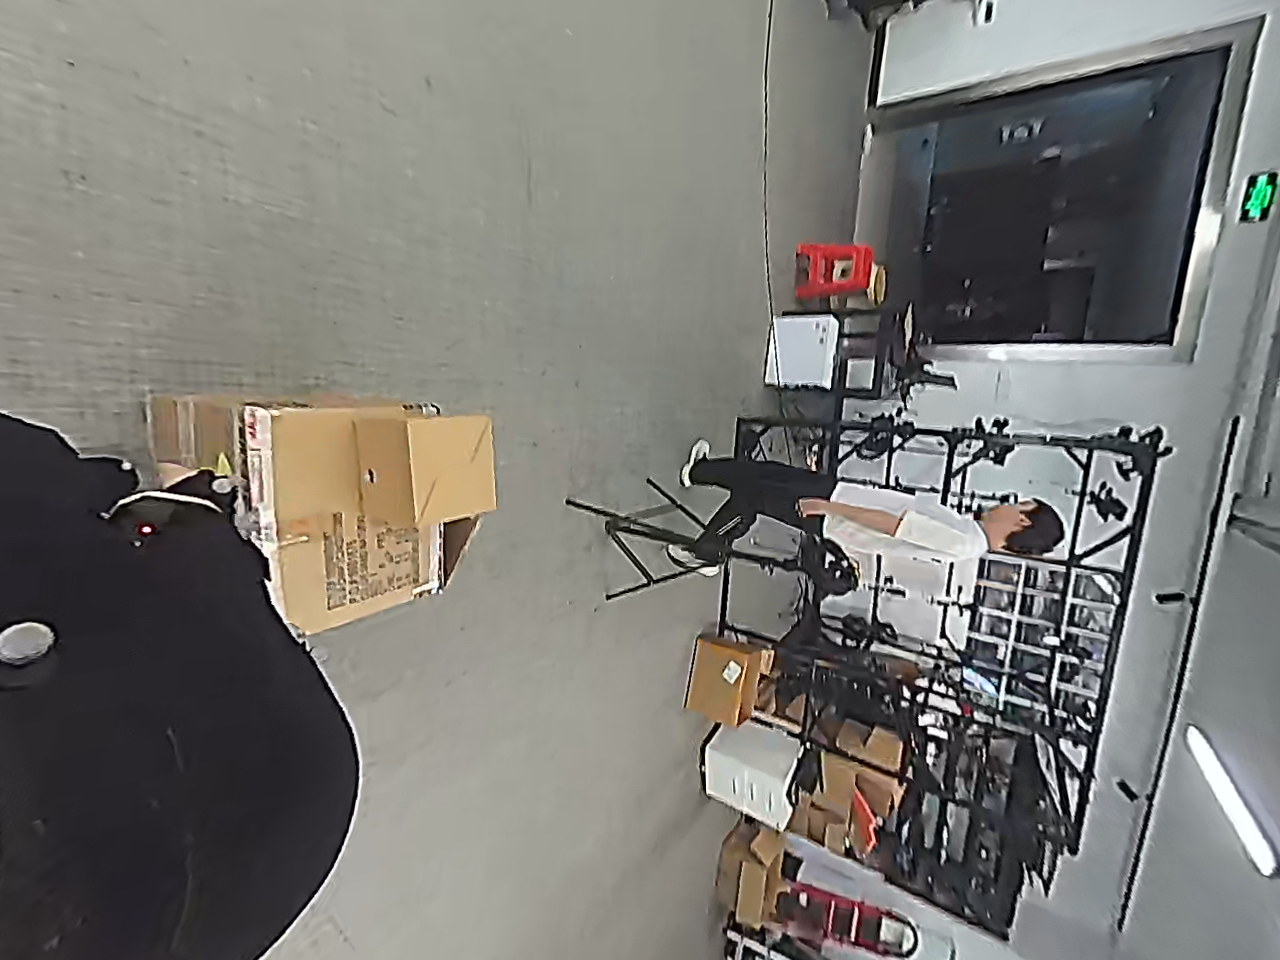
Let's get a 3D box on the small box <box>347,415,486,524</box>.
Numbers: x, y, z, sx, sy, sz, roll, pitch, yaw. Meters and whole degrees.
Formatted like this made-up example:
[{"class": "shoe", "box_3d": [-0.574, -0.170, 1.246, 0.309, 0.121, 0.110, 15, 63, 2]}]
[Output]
[{"class": "small box", "box_3d": [-0.394, -0.026, 0.966, 0.168, 0.176, 0.179, -13, 106, -54]}]
